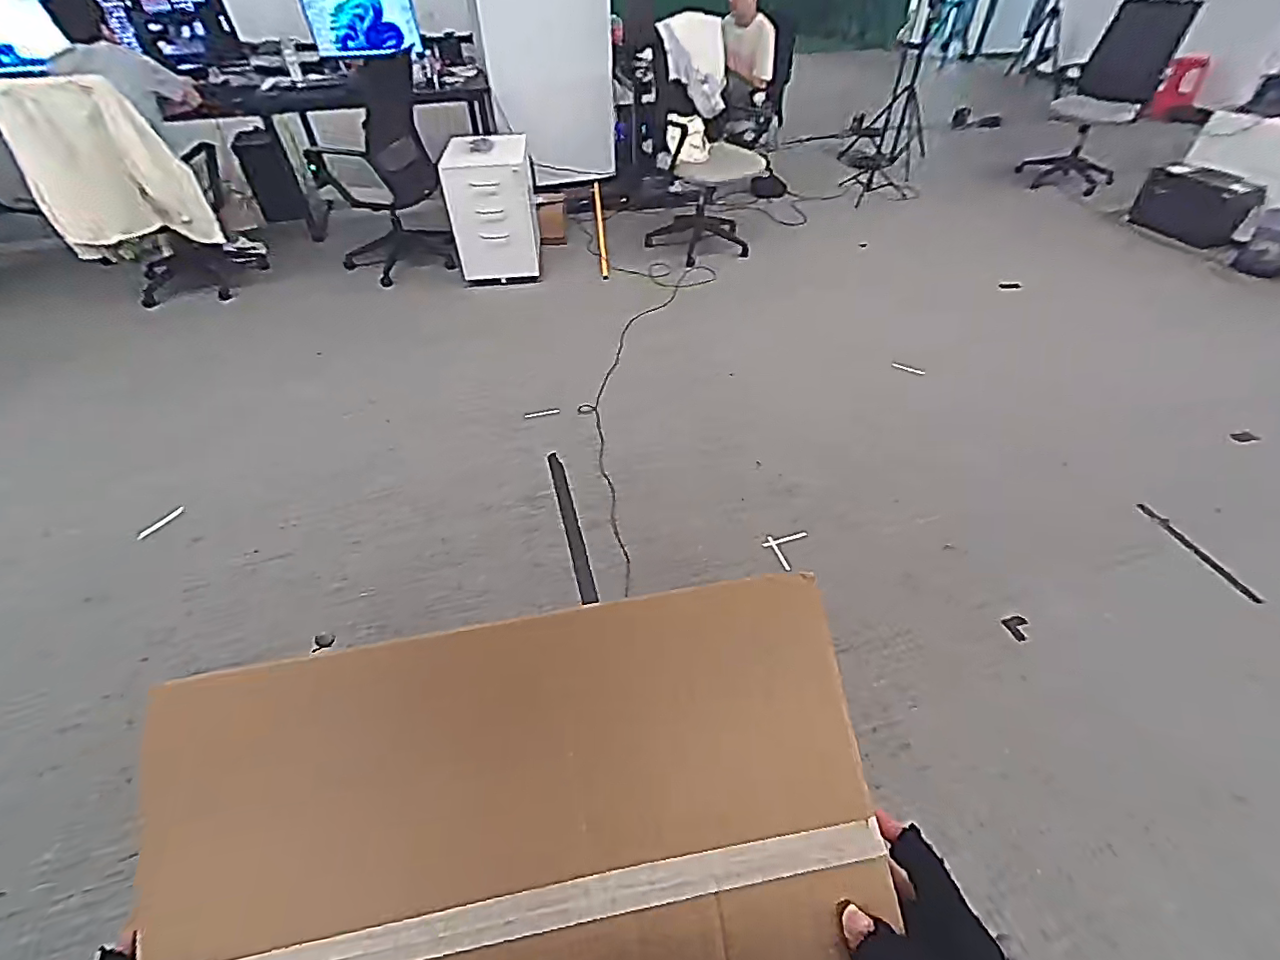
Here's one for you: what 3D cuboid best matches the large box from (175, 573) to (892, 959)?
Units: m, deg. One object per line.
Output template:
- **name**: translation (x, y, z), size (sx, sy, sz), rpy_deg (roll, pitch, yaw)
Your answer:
- **large box**: translation (-0.069, 0.278, 0.456), size (0.408, 0.320, 0.320), rpy_deg (-9, 77, -5)
